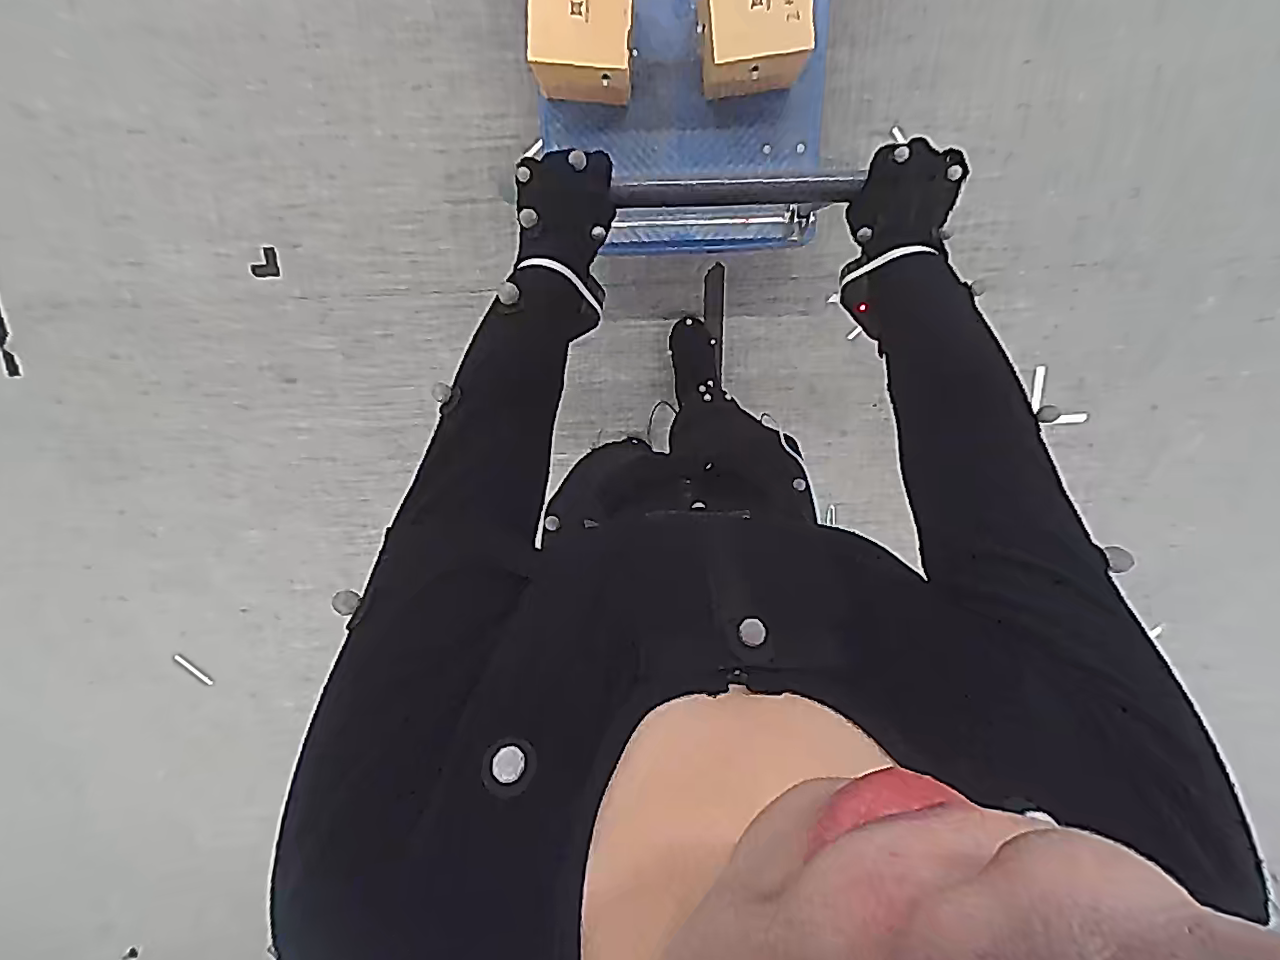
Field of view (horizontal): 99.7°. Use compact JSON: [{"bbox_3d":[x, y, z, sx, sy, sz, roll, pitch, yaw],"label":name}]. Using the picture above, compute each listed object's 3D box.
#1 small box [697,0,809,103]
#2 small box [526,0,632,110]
[{"bbox_3d":[0.199,-0.823,0.994,0.179,0.176,0.168,-7,107,2],"label":"small box"},{"bbox_3d":[-0.108,-0.811,0.999,0.179,0.176,0.168,3,106,-3],"label":"small box"}]
